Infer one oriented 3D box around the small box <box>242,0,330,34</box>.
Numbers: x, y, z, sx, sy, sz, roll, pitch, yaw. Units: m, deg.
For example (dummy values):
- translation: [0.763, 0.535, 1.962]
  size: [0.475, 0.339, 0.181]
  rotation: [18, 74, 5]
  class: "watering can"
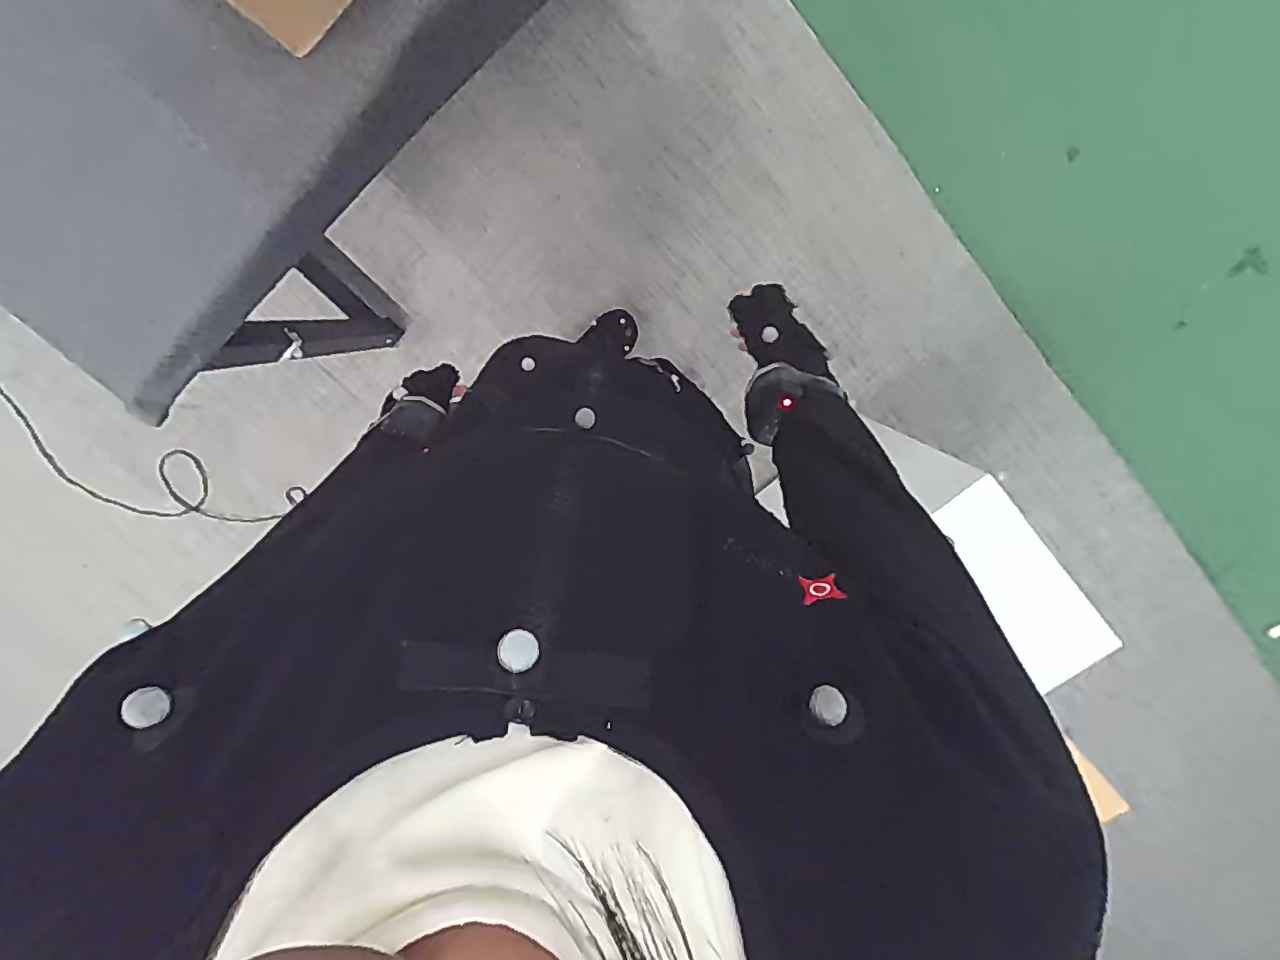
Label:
- translation: [-0.342, -0.534, 0.444]
  size: [0.179, 0.176, 0.168]
  rotation: [-39, 102, 13]
  class: "small box"
